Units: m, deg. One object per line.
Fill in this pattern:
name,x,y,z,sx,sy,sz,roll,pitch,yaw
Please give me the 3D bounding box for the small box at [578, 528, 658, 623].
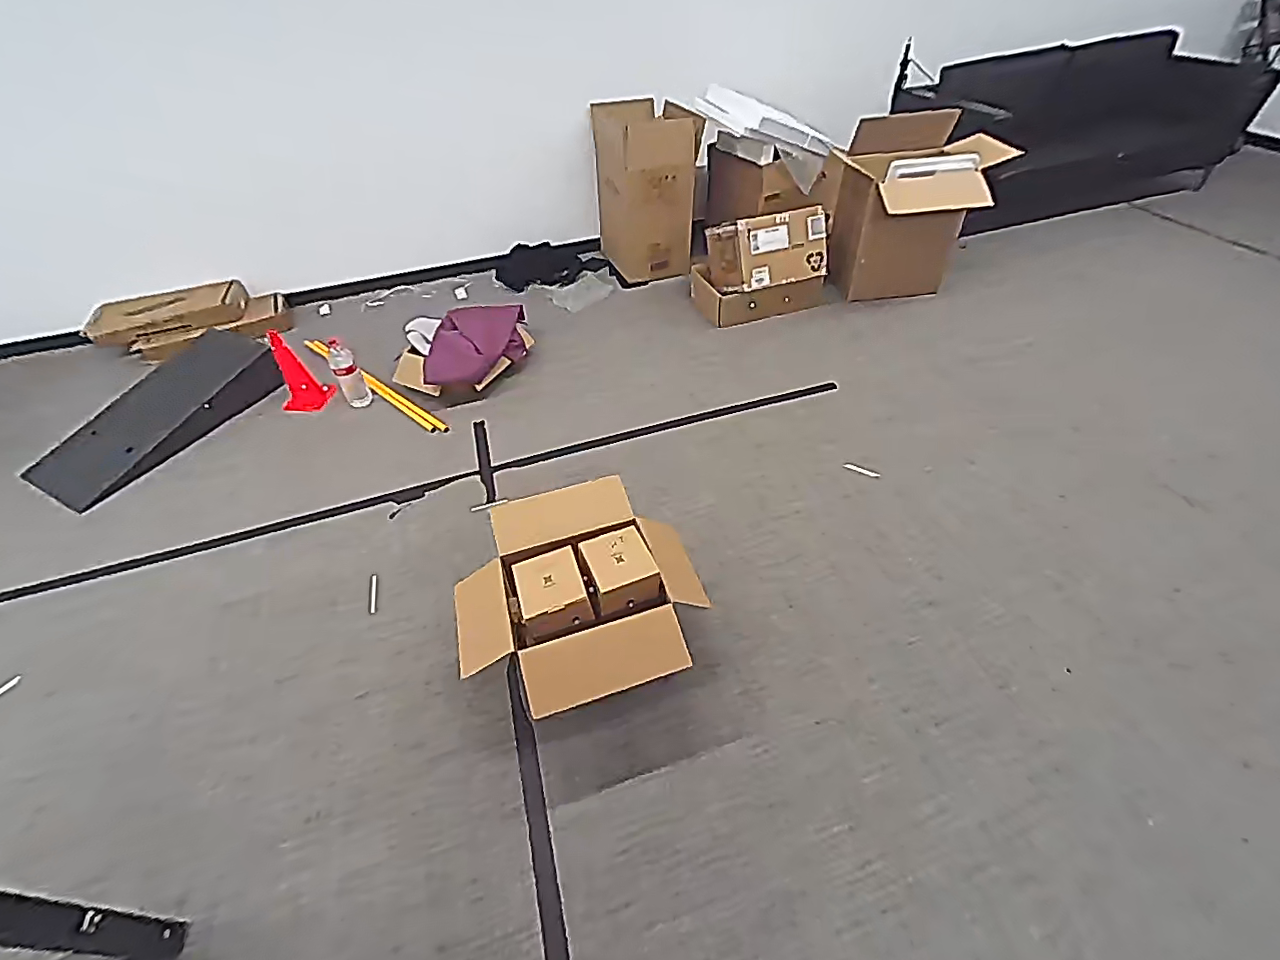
small box,-0.060,0.266,1.474,0.168,0.176,0.179,-17,47,-18
